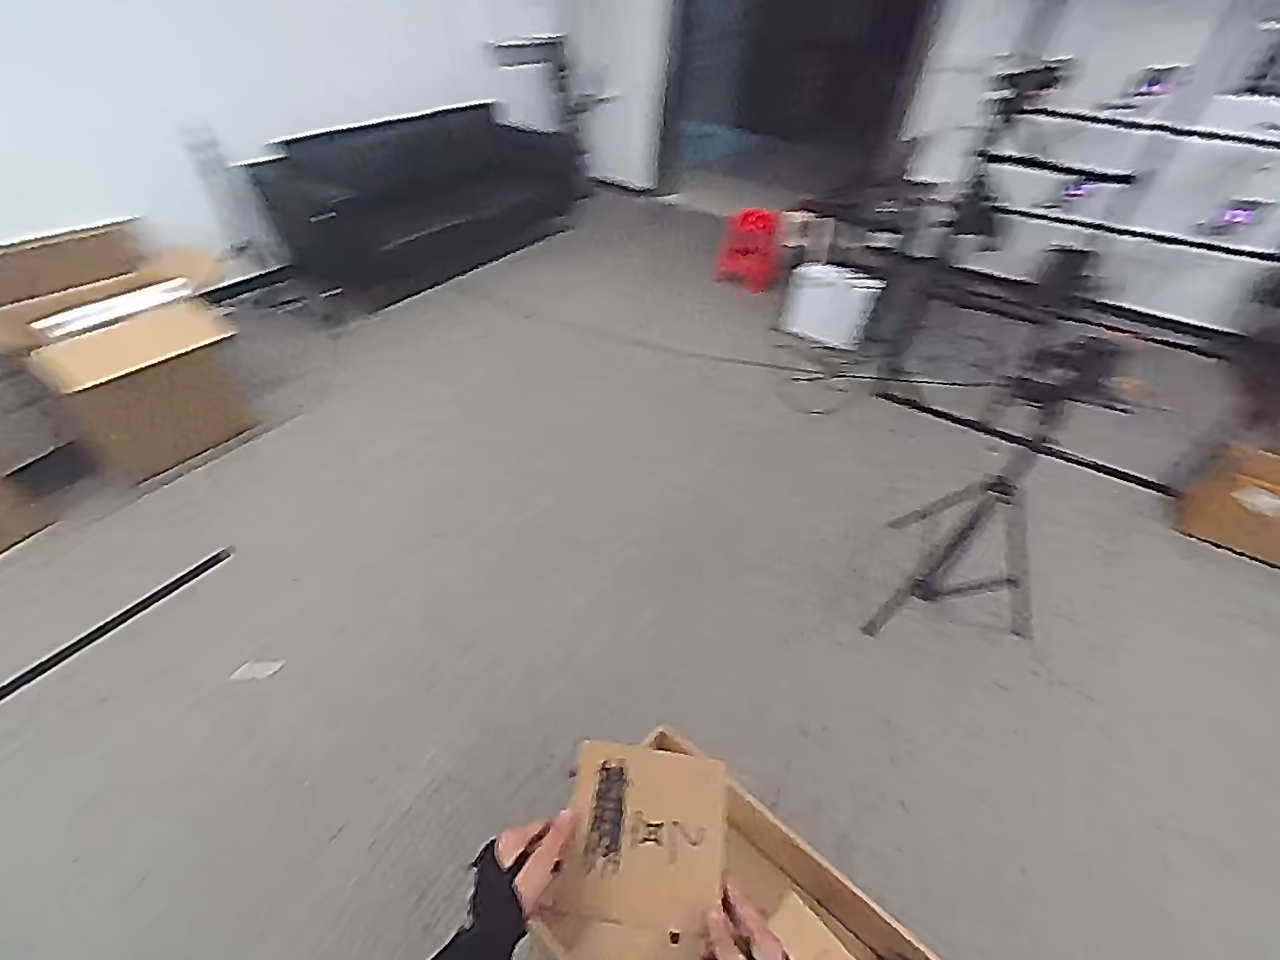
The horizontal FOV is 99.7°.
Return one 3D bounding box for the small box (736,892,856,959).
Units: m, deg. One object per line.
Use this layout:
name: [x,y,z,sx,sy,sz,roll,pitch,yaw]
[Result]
small box: [0.241,0.815,0.855,0.179,0.176,0.168,-29,52,-33]
